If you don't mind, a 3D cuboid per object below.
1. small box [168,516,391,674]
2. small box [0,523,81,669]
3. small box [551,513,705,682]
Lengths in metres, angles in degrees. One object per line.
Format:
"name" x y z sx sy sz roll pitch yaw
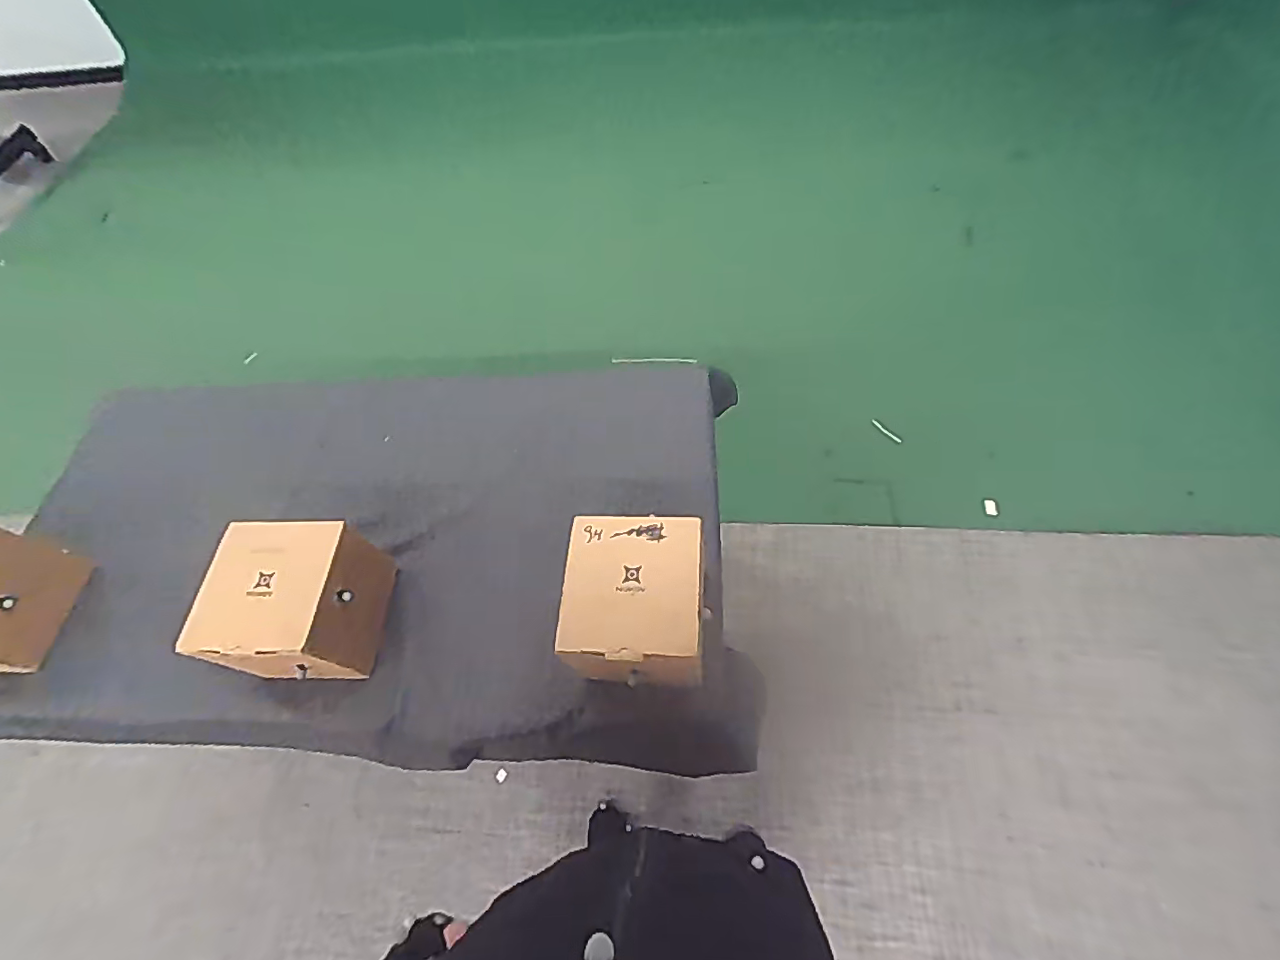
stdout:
"small box" -0.474 0.164 0.747 0.168 0.176 0.179 0 59 3
"small box" -0.995 0.166 0.787 0.168 0.176 0.179 0 60 5
"small box" -0.003 0.157 0.703 0.168 0.176 0.179 1 60 8
